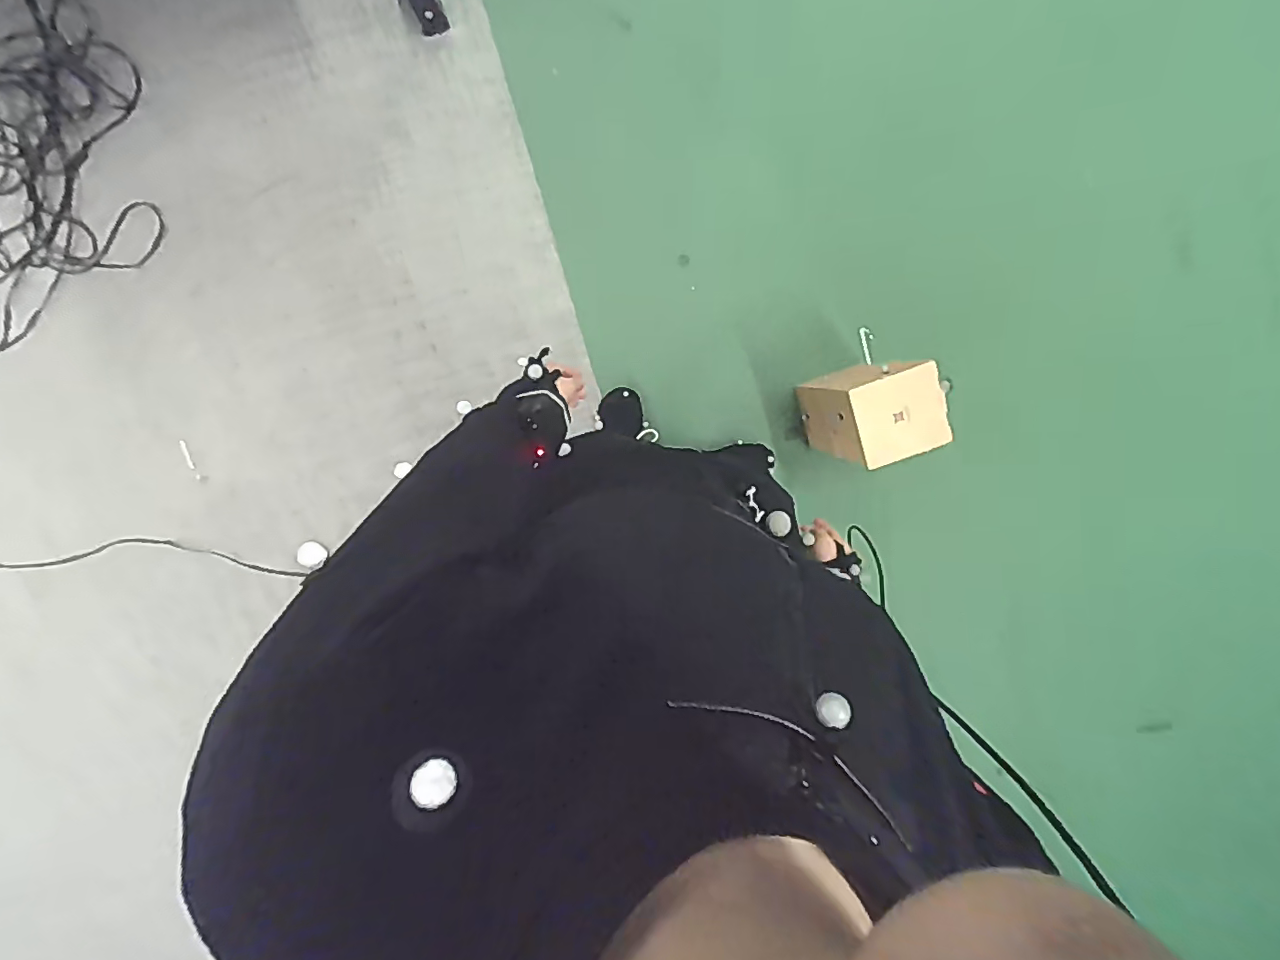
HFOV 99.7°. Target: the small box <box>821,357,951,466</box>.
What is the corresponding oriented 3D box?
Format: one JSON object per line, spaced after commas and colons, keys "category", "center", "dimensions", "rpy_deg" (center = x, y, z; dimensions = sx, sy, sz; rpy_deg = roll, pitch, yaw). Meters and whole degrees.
{"category": "small box", "center": [0.492, -0.143, 1.110], "dimensions": [0.179, 0.176, 0.168], "rpy_deg": [-20, 102, 1]}
